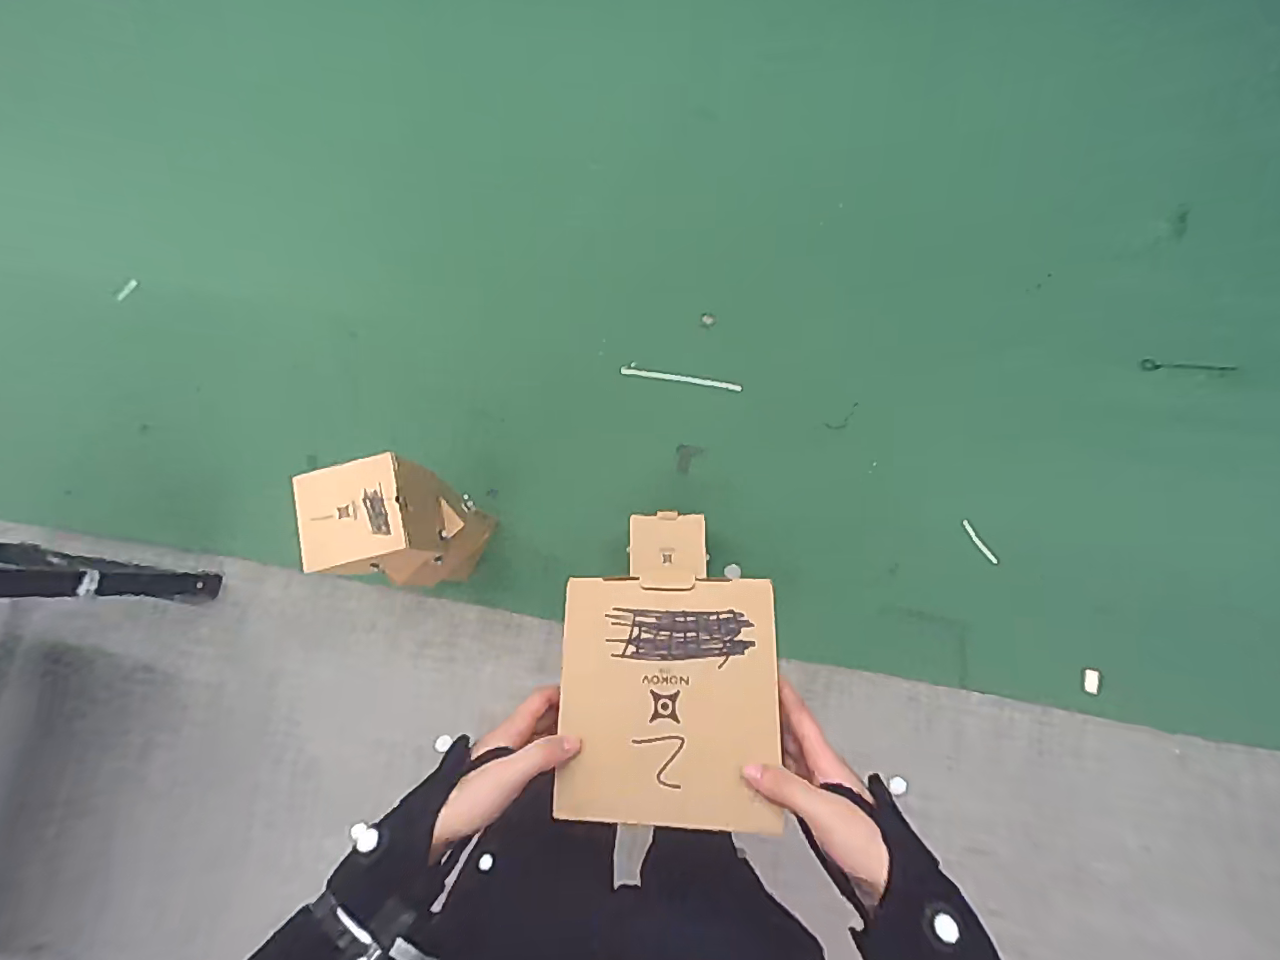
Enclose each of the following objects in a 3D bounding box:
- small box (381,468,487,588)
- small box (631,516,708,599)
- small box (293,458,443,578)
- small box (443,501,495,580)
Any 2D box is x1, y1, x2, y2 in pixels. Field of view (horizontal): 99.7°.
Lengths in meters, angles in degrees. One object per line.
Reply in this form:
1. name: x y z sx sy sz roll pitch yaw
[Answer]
1. small box: -0.446 0.105 1.109 0.179 0.176 0.168 -43 81 -6
2. small box: 0.065 0.180 1.230 0.168 0.176 0.179 0 78 2
3. small box: -0.463 0.071 0.948 0.179 0.176 0.168 -14 79 1
4. small box: -0.467 0.126 1.271 0.168 0.176 0.179 25 81 7
